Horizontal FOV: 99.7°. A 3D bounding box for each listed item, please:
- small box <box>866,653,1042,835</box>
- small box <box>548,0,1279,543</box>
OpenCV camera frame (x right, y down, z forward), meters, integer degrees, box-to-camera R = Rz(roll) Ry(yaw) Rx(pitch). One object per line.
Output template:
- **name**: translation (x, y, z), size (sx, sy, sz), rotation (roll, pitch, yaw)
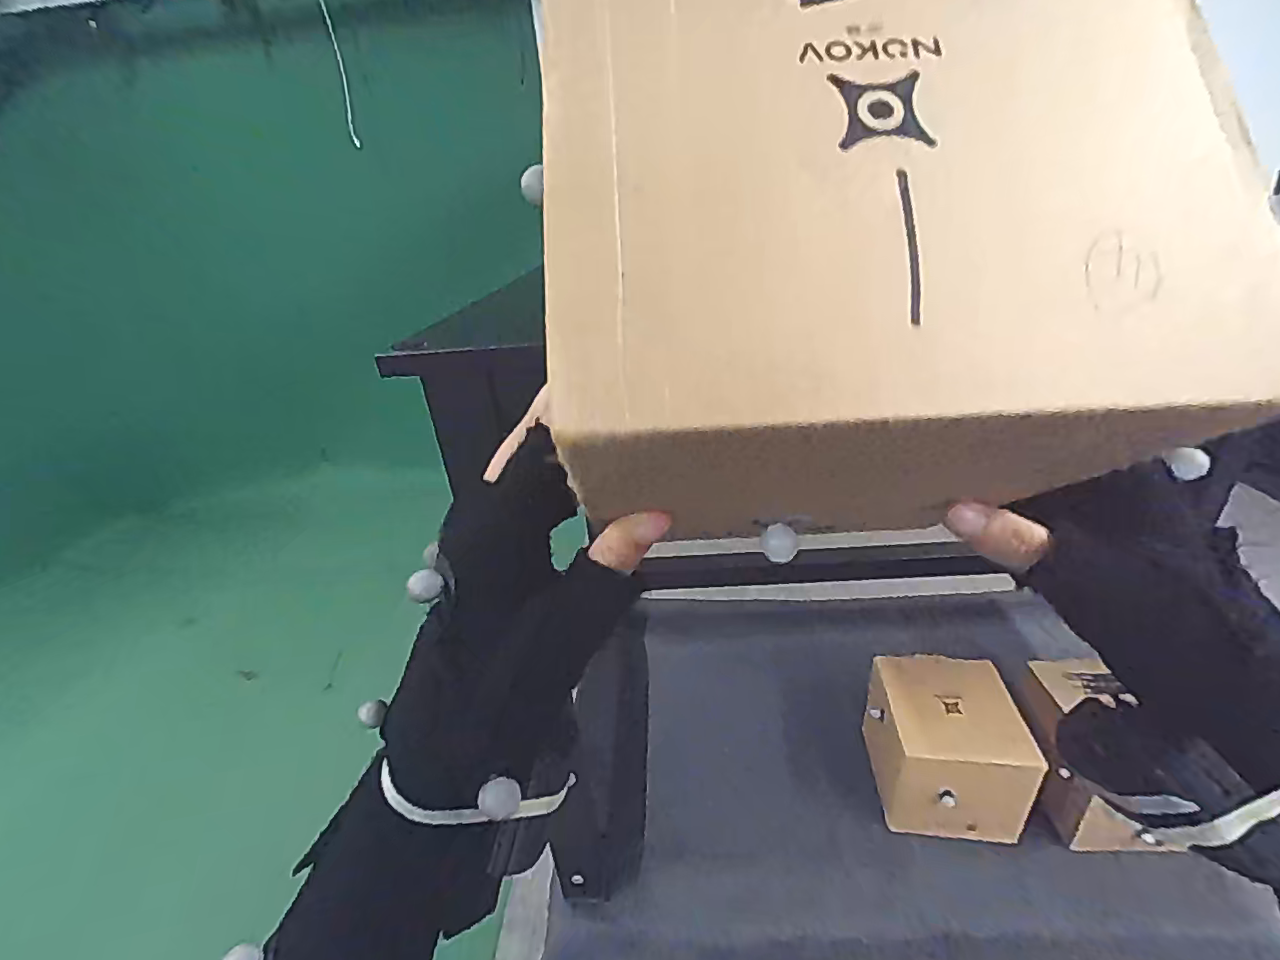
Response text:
- **small box**: translation (0.436, 0.378, 0.784), size (0.168, 0.176, 0.179), rotation (0, 27, 10)
- **small box**: translation (0.058, -0.076, 0.214), size (0.168, 0.179, 0.176), rotation (-3, -14, 0)
